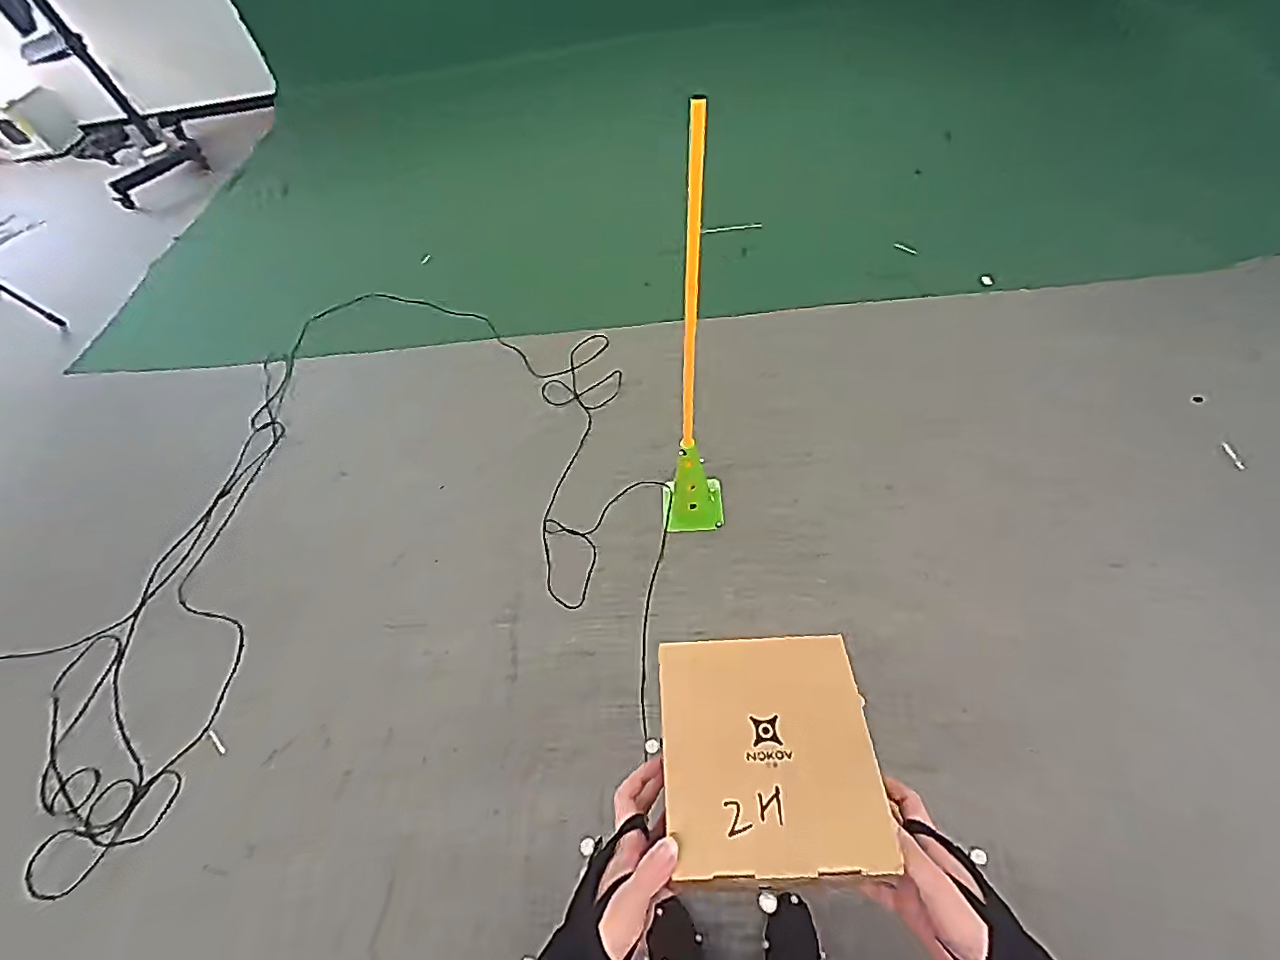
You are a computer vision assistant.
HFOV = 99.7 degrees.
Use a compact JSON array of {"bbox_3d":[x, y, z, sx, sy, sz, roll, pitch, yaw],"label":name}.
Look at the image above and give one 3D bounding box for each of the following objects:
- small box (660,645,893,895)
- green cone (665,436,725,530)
[{"bbox_3d":[0.102,0.269,0.498,0.168,0.176,0.179,-2,51,2],"label":"small box"},{"bbox_3d":[0.163,-0.016,1.710,0.202,0.368,0.200,-4,56,7],"label":"green cone"}]
